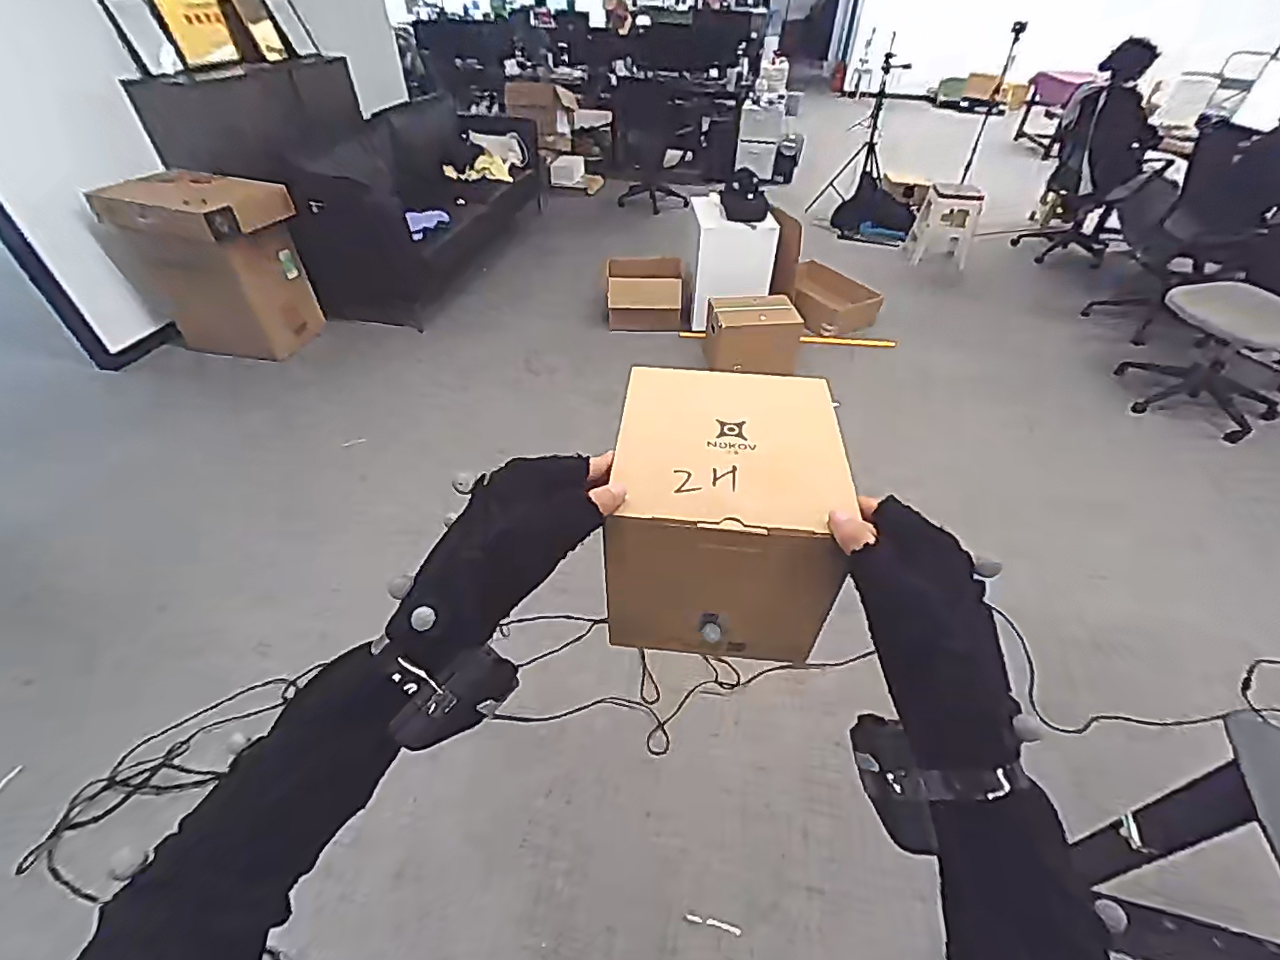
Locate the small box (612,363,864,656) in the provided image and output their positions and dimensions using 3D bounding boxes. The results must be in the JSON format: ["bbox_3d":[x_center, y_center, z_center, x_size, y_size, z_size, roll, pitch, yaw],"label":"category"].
[{"bbox_3d":[0.069,0.023,0.461,0.168,0.176,0.179,5,45,4],"label":"small box"}]
